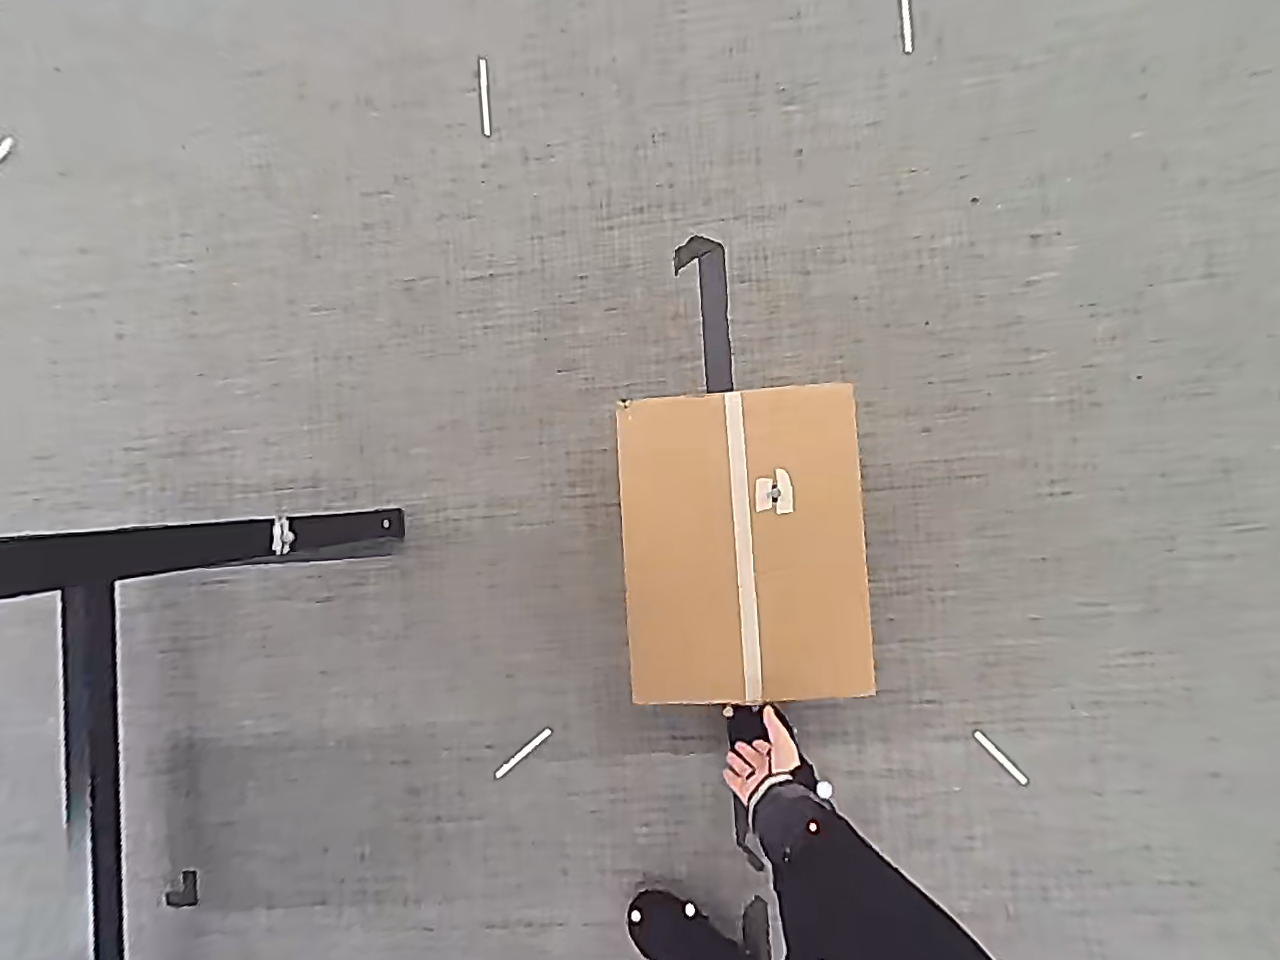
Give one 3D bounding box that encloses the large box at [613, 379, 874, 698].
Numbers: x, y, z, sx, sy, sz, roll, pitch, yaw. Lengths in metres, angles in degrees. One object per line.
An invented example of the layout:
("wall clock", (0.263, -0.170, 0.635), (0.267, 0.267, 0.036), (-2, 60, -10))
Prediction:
("large box", (0.144, 0.085, 0.850), (0.320, 0.320, 0.408), (-4, 88, 4))
